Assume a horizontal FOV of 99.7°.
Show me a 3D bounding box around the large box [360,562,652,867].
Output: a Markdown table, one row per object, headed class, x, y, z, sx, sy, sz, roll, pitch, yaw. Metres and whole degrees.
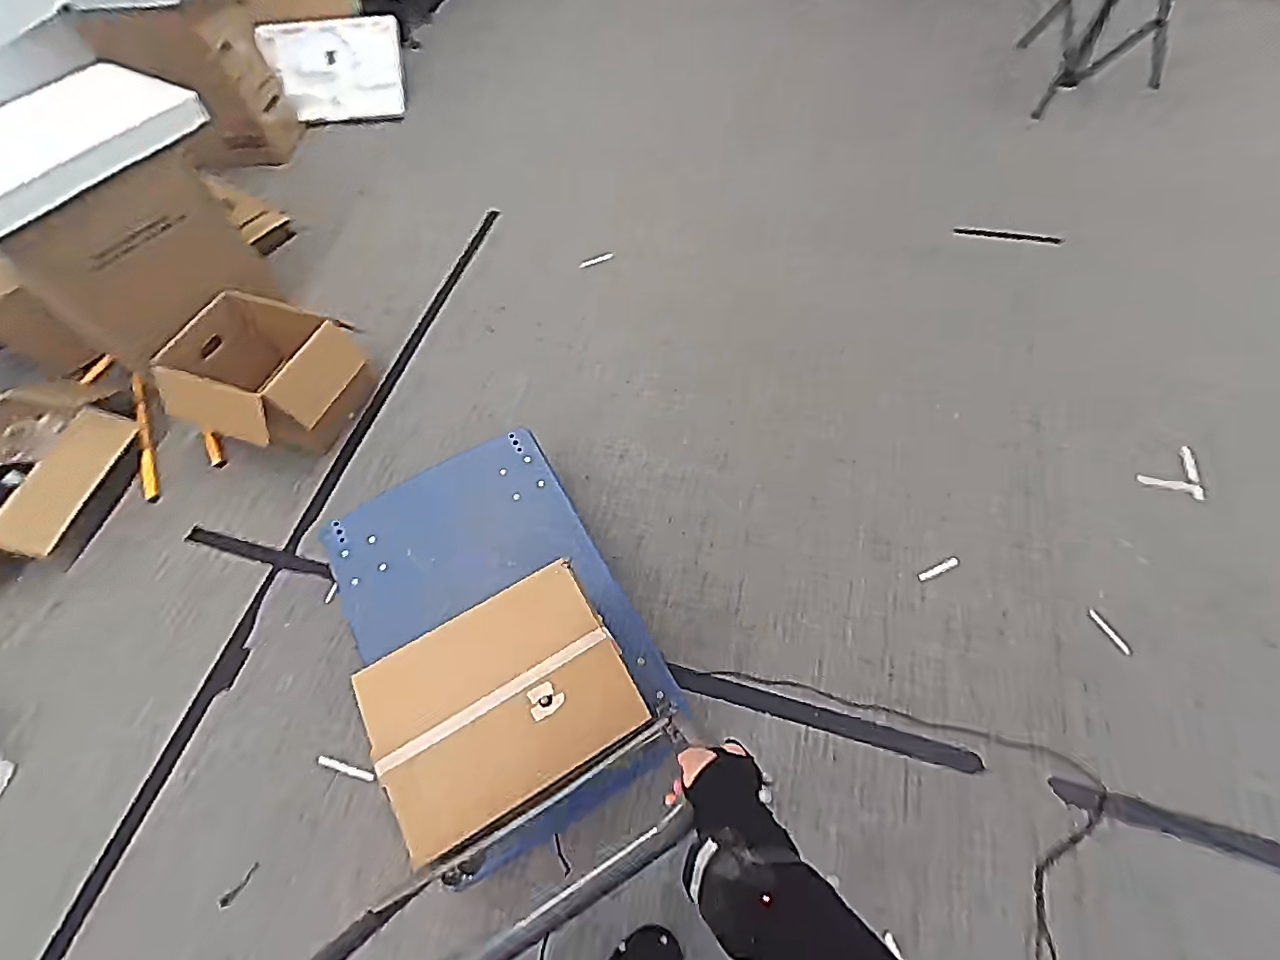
| class | x | y | z | sx | sy | sz | roll | pitch | yaw |
| --- | --- | --- | --- | --- | --- | --- | --- | --- | --- |
| large box | -0.223 | 0.425 | 1.024 | 0.408 | 0.320 | 0.320 | -29 | 68 | -12 |
